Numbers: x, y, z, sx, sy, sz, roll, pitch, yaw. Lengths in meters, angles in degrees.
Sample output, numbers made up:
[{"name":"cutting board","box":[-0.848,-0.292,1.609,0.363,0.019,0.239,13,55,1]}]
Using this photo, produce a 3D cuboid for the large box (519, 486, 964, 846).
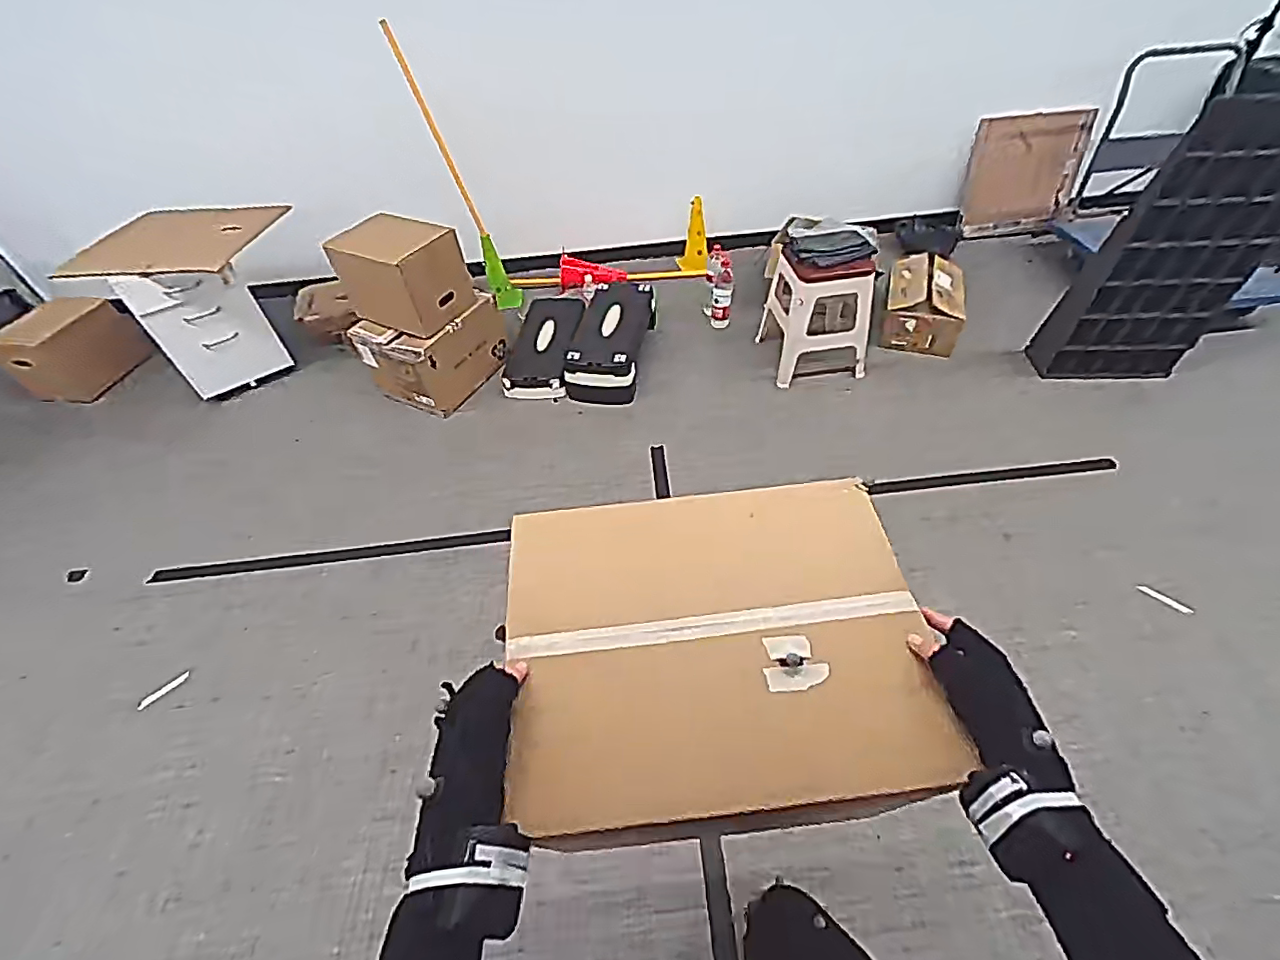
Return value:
[{"name":"large box","box":[0.080,0.240,0.675,0.408,0.320,0.320,-6,54,-2]}]
